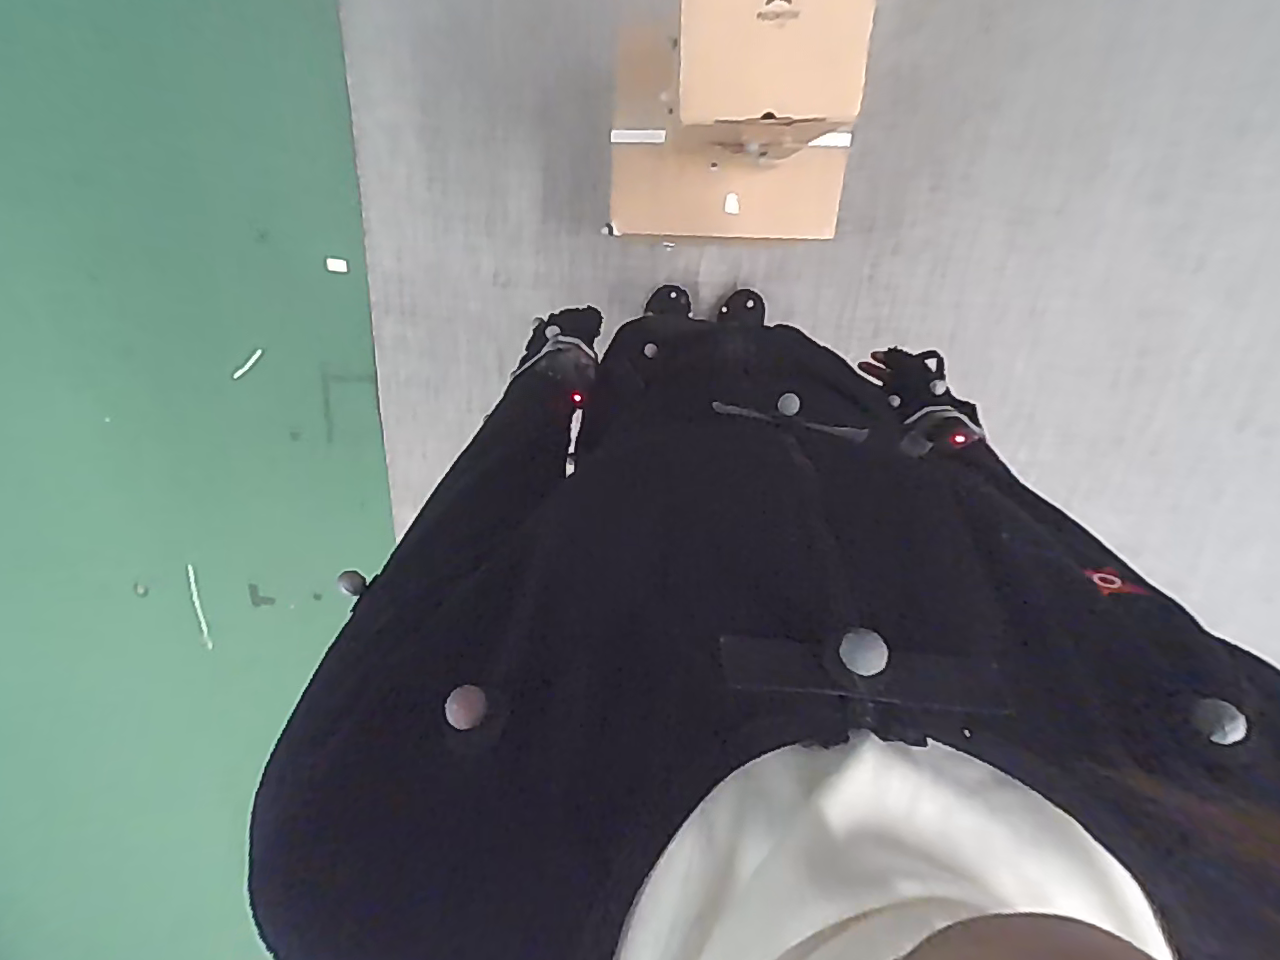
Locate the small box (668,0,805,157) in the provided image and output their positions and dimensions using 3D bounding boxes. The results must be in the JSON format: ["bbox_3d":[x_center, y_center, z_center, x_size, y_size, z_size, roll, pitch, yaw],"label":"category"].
[{"bbox_3d":[0.122,-0.516,0.683,0.168,0.176,0.179,1,115,1],"label":"small box"}]

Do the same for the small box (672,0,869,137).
[{"bbox_3d":[0.117,-0.447,0.535,0.168,0.176,0.179,0,117,2],"label":"small box"}]

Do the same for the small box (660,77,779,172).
[{"bbox_3d":[0.130,-0.582,0.828,0.179,0.176,0.168,9,115,-1],"label":"small box"}]
